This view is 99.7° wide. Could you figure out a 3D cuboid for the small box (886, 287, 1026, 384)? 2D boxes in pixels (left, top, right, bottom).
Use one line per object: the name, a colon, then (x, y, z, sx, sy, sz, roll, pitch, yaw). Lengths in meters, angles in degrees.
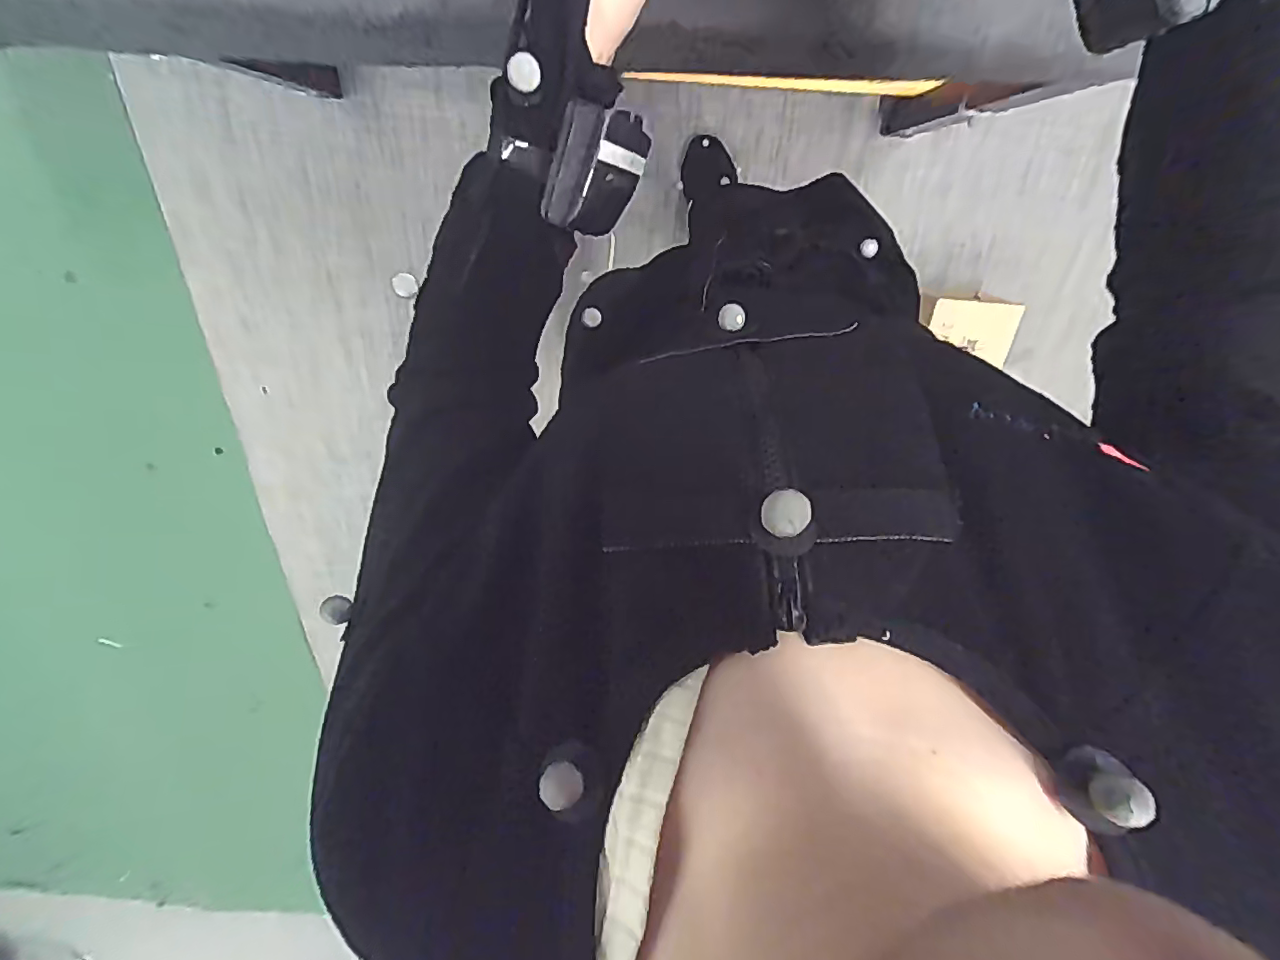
small box: (0.659, -0.312, 1.152, 0.179, 0.176, 0.168, 4, 116, 0)
